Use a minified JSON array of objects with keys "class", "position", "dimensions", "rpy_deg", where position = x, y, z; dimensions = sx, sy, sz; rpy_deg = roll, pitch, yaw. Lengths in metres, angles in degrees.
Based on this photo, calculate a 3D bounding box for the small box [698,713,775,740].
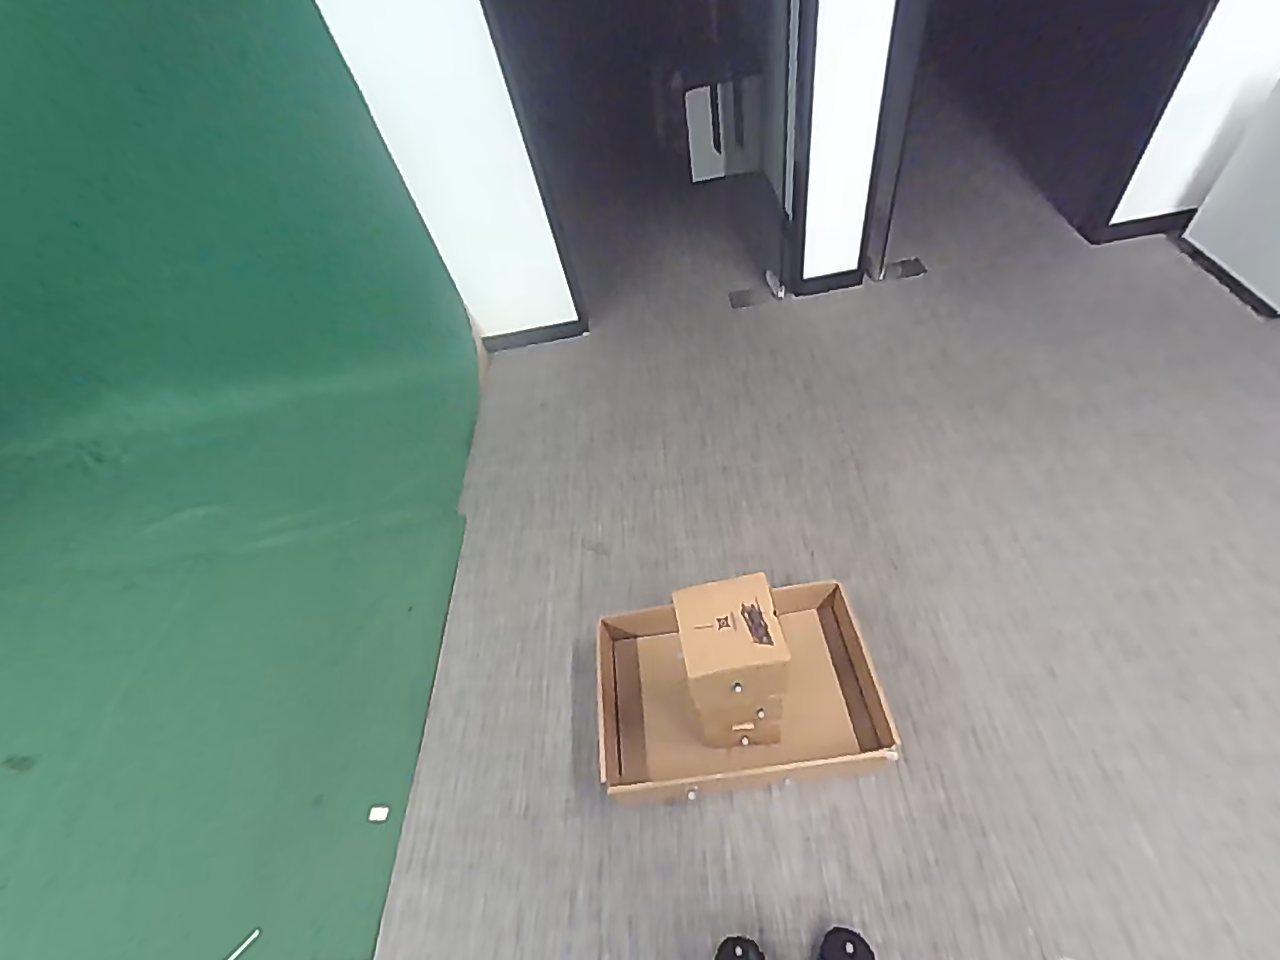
[{"class":"small box","position":[0.220,0.495,1.257],"dimensions":[0.168,0.176,0.179],"rpy_deg":[-8,51,7]}]

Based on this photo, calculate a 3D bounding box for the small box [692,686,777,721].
[{"class":"small box","position":[0.191,0.394,1.134],"dimensions":[0.168,0.176,0.179],"rpy_deg":[-8,49,6]}]

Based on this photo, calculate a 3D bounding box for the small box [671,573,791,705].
[{"class":"small box","position":[0.164,0.298,1.003],"dimensions":[0.179,0.176,0.168],"rpy_deg":[-13,51,1]}]
